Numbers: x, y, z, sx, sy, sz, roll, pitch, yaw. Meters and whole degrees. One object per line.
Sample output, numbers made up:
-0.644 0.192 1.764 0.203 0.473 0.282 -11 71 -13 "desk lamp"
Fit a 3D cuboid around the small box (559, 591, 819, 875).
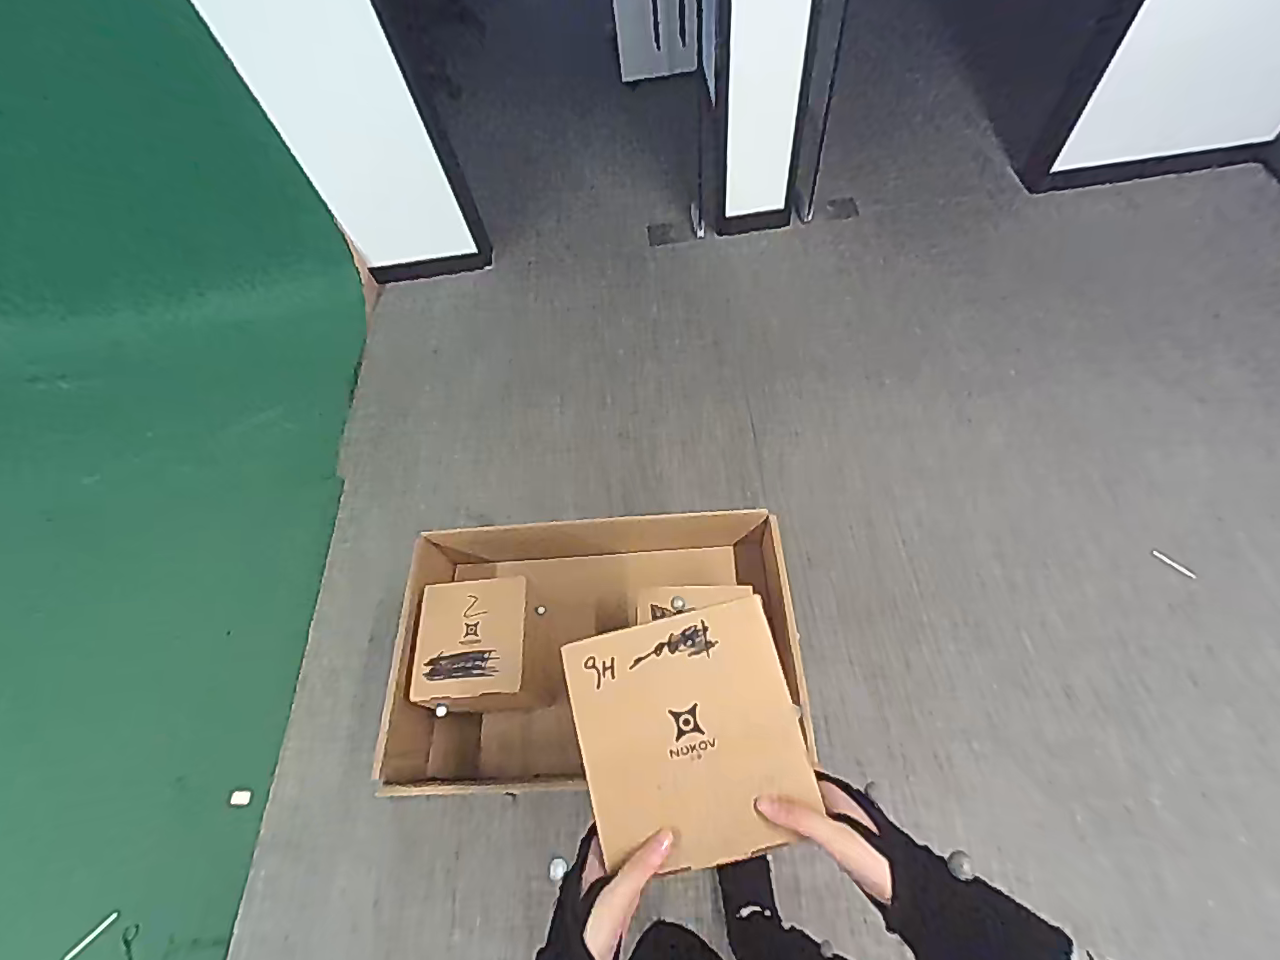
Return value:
0.041 0.207 0.491 0.168 0.176 0.179 -16 75 1 "small box"
